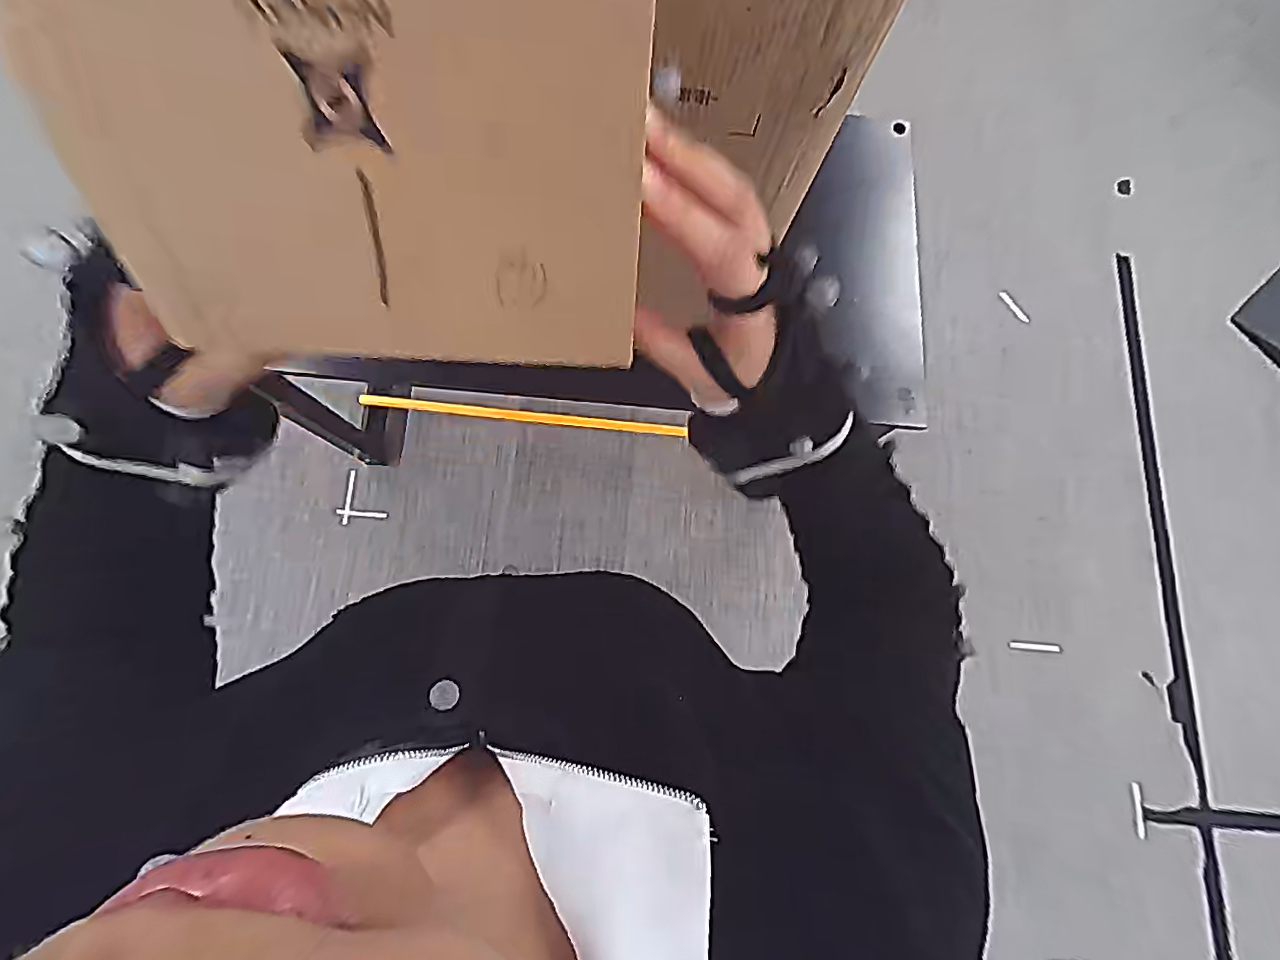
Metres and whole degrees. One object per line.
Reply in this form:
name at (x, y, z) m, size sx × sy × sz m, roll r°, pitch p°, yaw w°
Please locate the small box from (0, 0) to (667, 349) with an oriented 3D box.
small box at (-0.079, -0.167, 0.186) m, size 0.168 × 0.179 × 0.176 m, roll 2°, pitch 45°, yaw -4°
